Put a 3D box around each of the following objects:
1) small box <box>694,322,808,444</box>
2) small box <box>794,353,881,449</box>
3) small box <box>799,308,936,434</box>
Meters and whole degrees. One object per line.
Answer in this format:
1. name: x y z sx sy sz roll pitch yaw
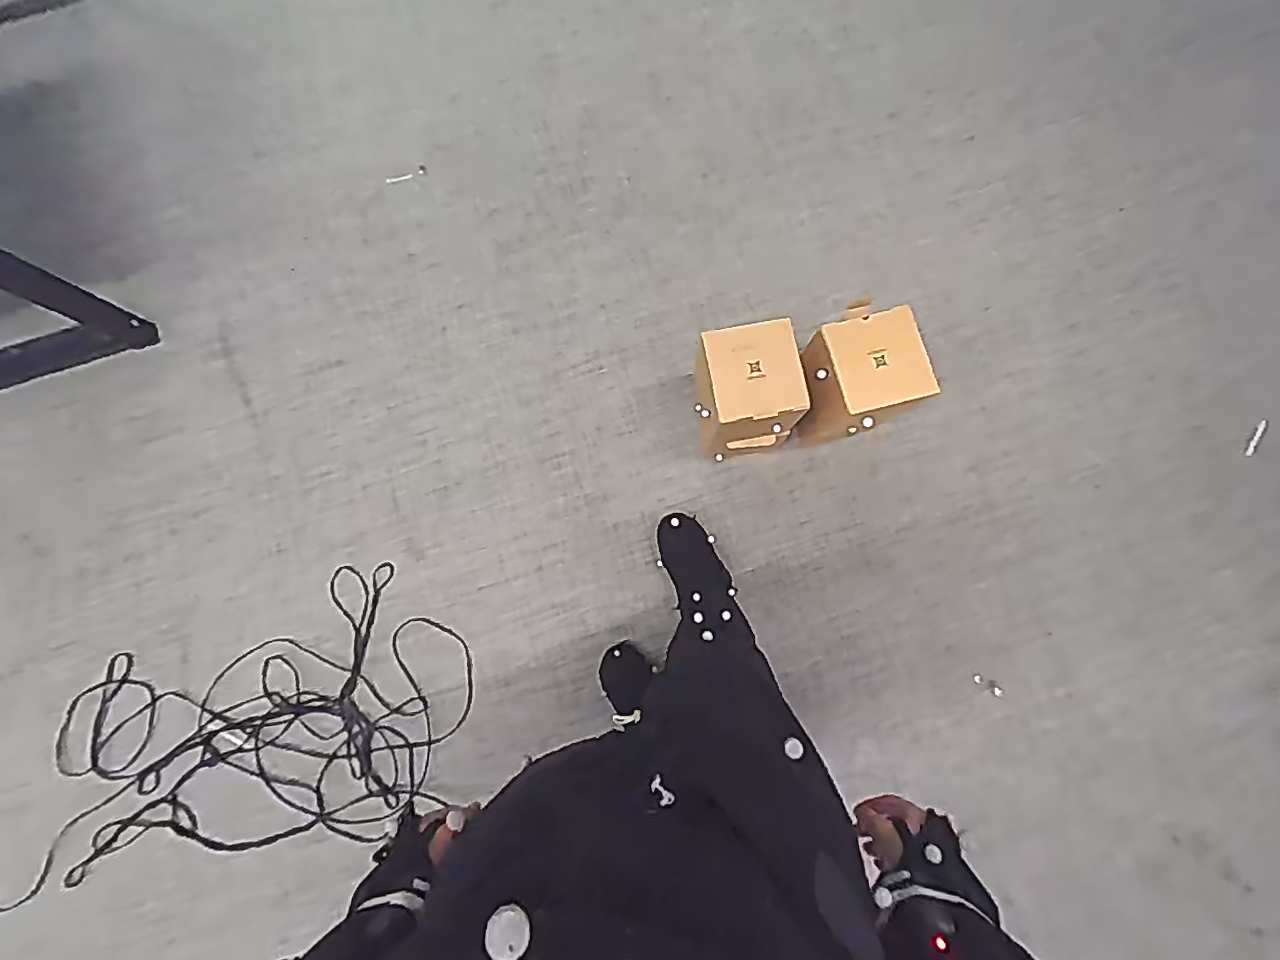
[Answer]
1. small box: 0.204 -0.176 1.040 0.168 0.176 0.179 -10 79 -2
2. small box: 0.435 -0.185 1.201 0.168 0.176 0.179 -14 80 -2
3. small box: 0.424 -0.196 1.038 0.168 0.176 0.179 -14 80 -1
